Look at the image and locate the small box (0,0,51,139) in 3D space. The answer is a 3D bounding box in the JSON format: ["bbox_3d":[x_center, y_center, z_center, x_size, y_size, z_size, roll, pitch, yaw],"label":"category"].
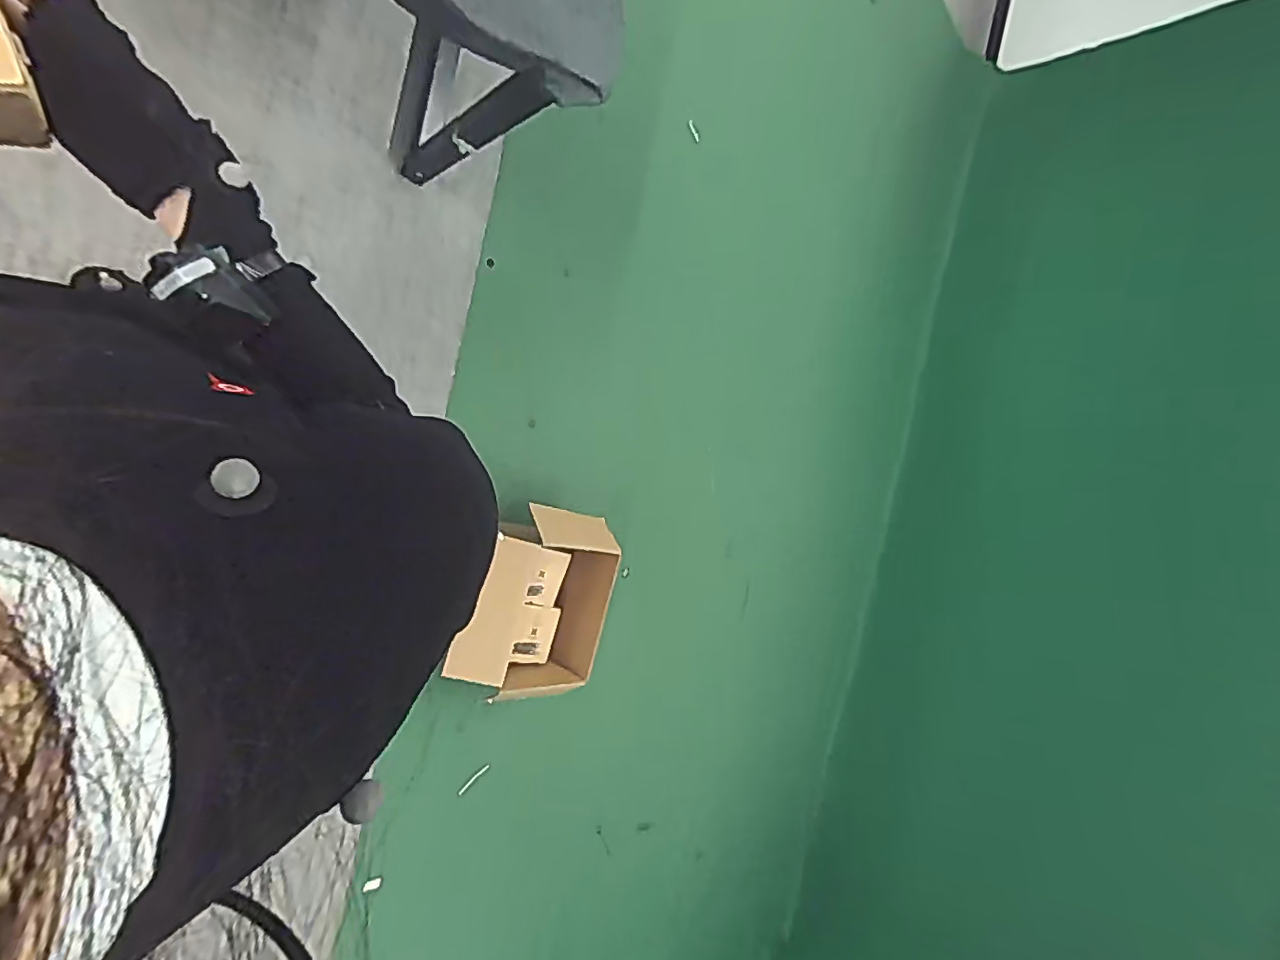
[{"bbox_3d":[-0.406,-0.266,0.232,0.168,0.176,0.179,-23,122,-39],"label":"small box"}]
